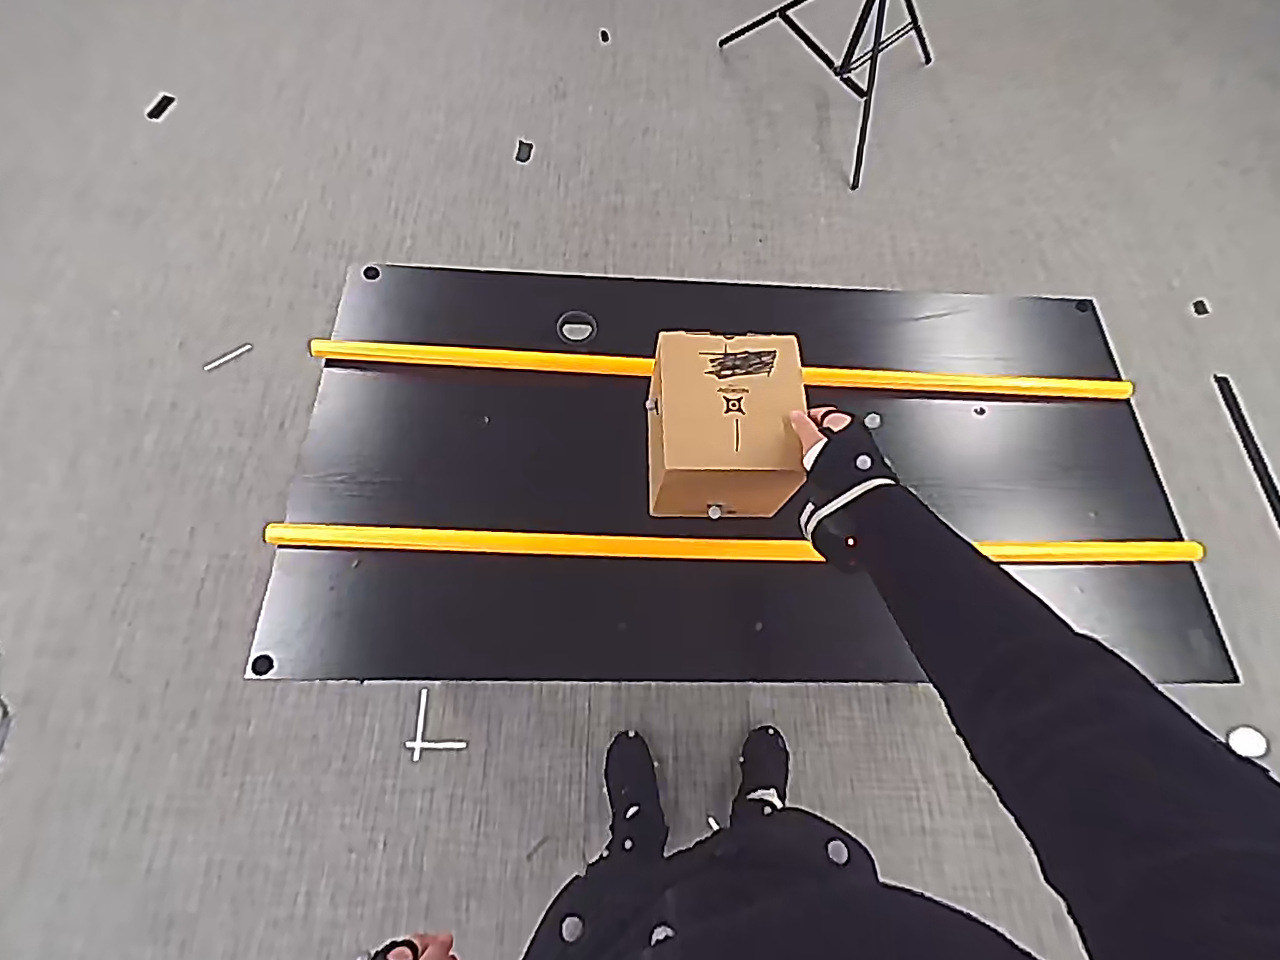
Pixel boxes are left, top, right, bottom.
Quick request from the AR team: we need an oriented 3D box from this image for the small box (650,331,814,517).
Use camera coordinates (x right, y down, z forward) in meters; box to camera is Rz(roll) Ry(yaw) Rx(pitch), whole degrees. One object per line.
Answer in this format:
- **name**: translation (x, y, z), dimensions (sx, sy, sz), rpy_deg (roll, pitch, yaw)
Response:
- **small box**: translation (0.101, -0.063, 0.682), dimensions (0.168, 0.176, 0.179), rpy_deg (1, 69, -3)
